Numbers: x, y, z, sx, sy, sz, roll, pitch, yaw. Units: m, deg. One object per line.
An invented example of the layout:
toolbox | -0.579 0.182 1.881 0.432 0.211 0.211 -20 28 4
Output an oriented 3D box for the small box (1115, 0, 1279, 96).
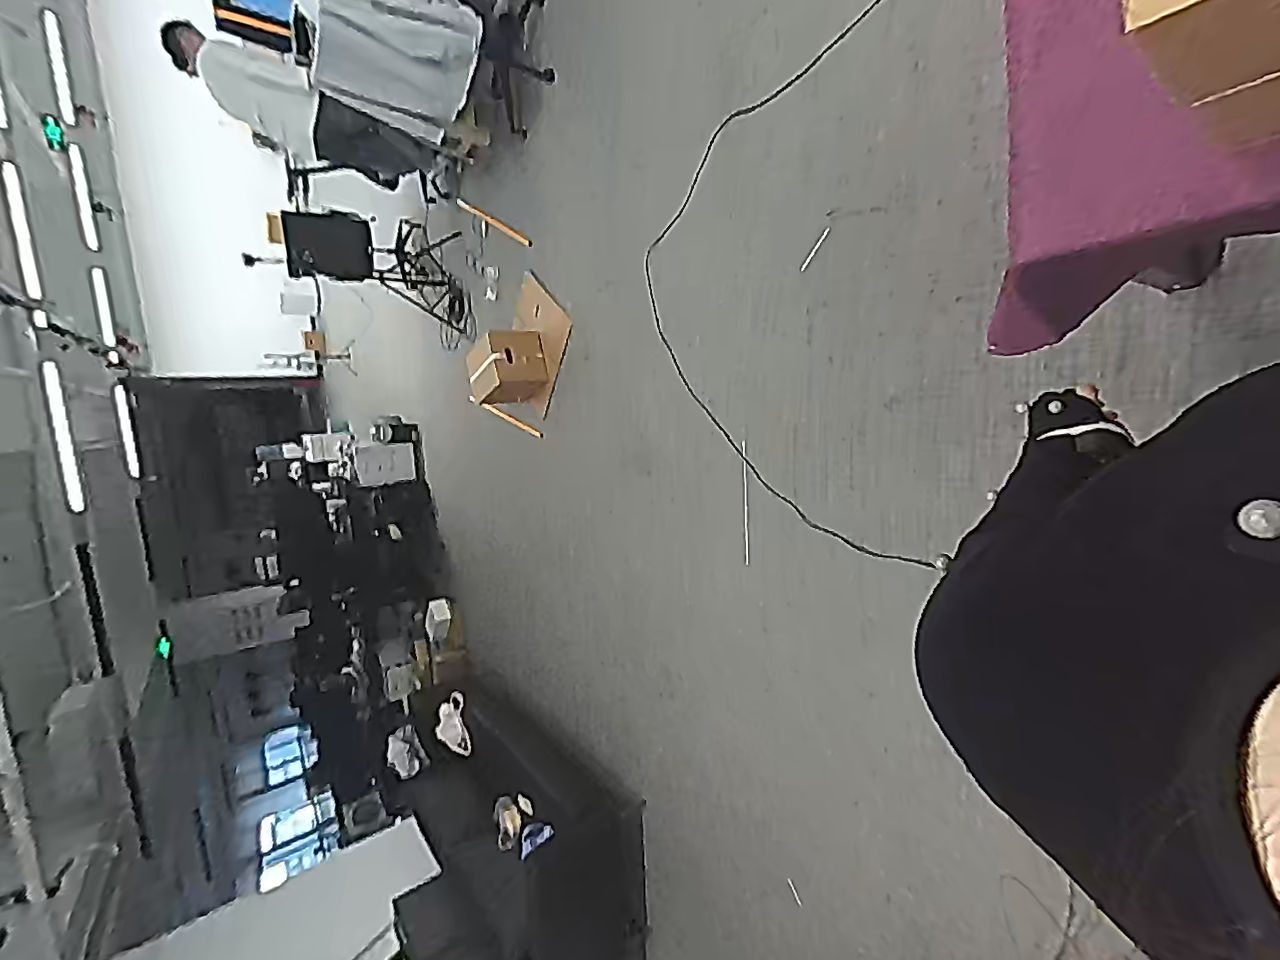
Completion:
small box | 0.422 -0.375 0.323 0.179 0.176 0.168 3 100 53
